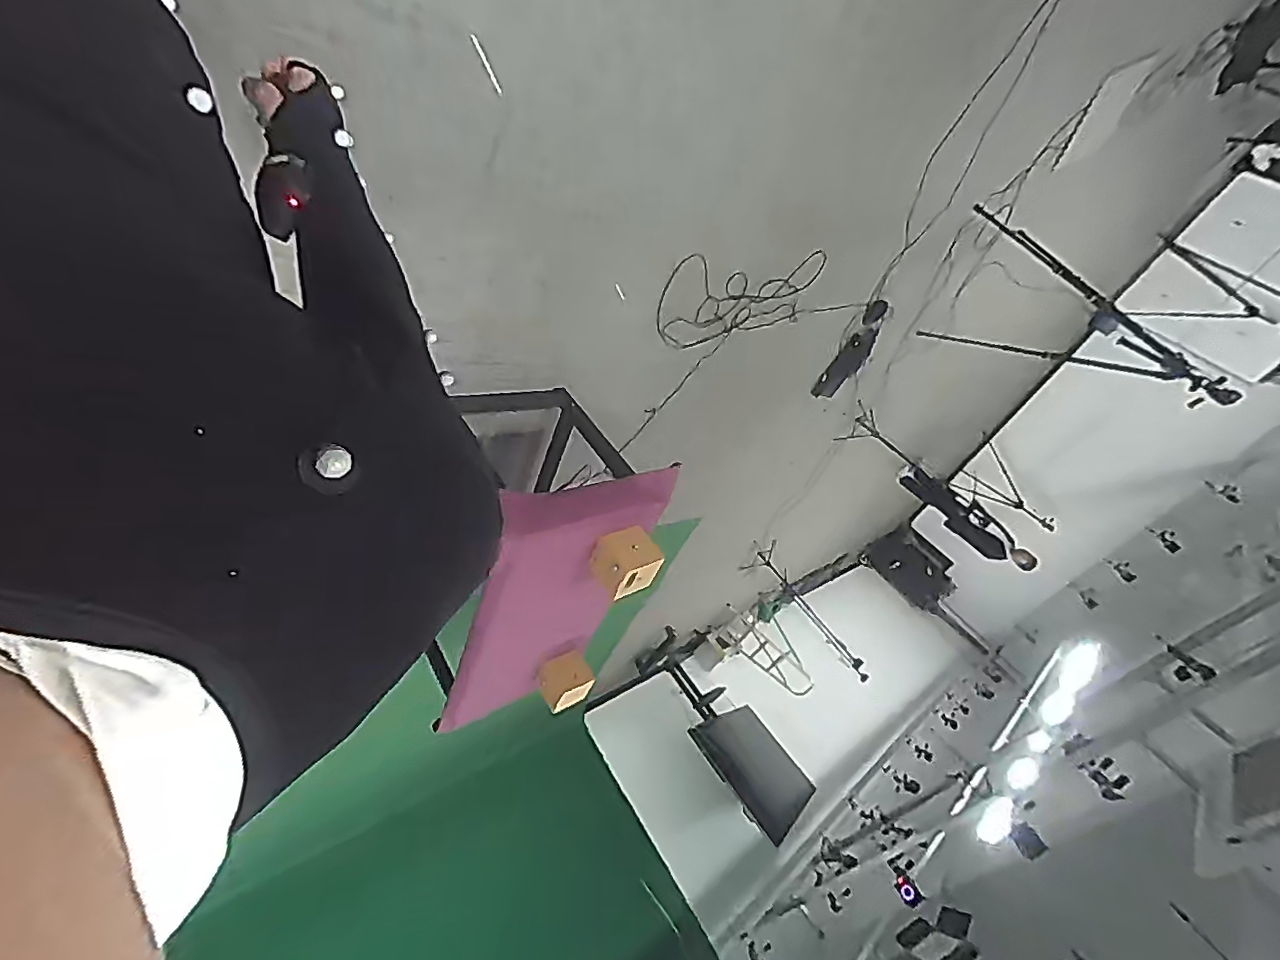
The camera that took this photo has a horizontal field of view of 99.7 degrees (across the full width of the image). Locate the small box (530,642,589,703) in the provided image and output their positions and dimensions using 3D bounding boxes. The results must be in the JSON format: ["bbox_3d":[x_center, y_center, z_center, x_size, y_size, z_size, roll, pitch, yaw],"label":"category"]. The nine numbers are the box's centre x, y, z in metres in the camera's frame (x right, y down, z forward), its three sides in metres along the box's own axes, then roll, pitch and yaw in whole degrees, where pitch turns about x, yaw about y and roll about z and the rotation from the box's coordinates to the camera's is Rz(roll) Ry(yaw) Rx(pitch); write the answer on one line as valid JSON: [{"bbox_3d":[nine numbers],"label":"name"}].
[{"bbox_3d":[-0.365,0.859,2.434,0.179,0.176,0.168,-10,137,-43],"label":"small box"}]
